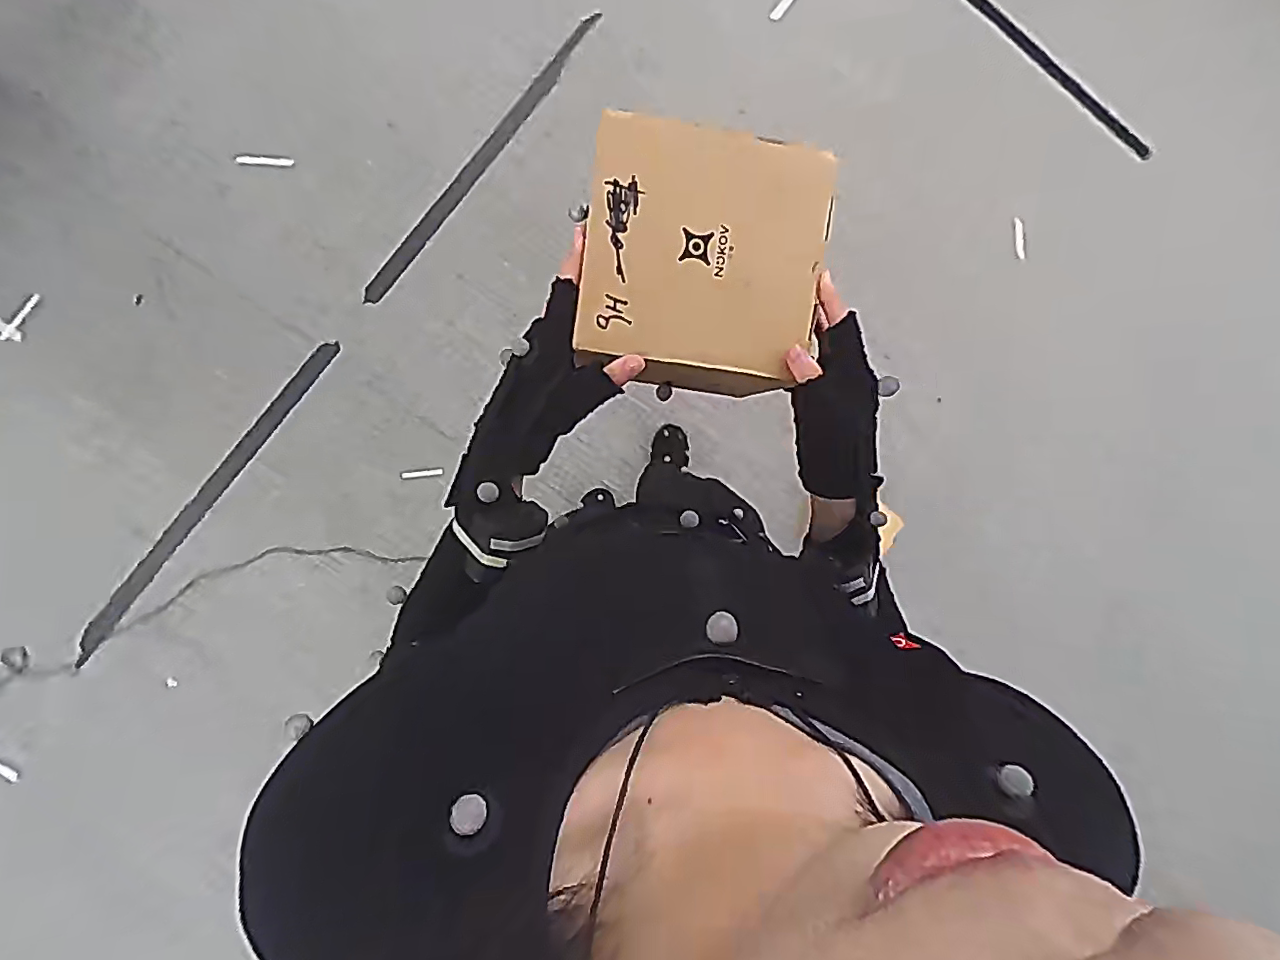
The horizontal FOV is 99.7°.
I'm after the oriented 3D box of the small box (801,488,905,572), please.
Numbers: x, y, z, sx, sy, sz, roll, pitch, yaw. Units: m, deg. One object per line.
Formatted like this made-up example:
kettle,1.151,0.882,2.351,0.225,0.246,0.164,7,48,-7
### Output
small box,0.595,0.136,1.530,0.179,0.176,0.168,39,83,-4
